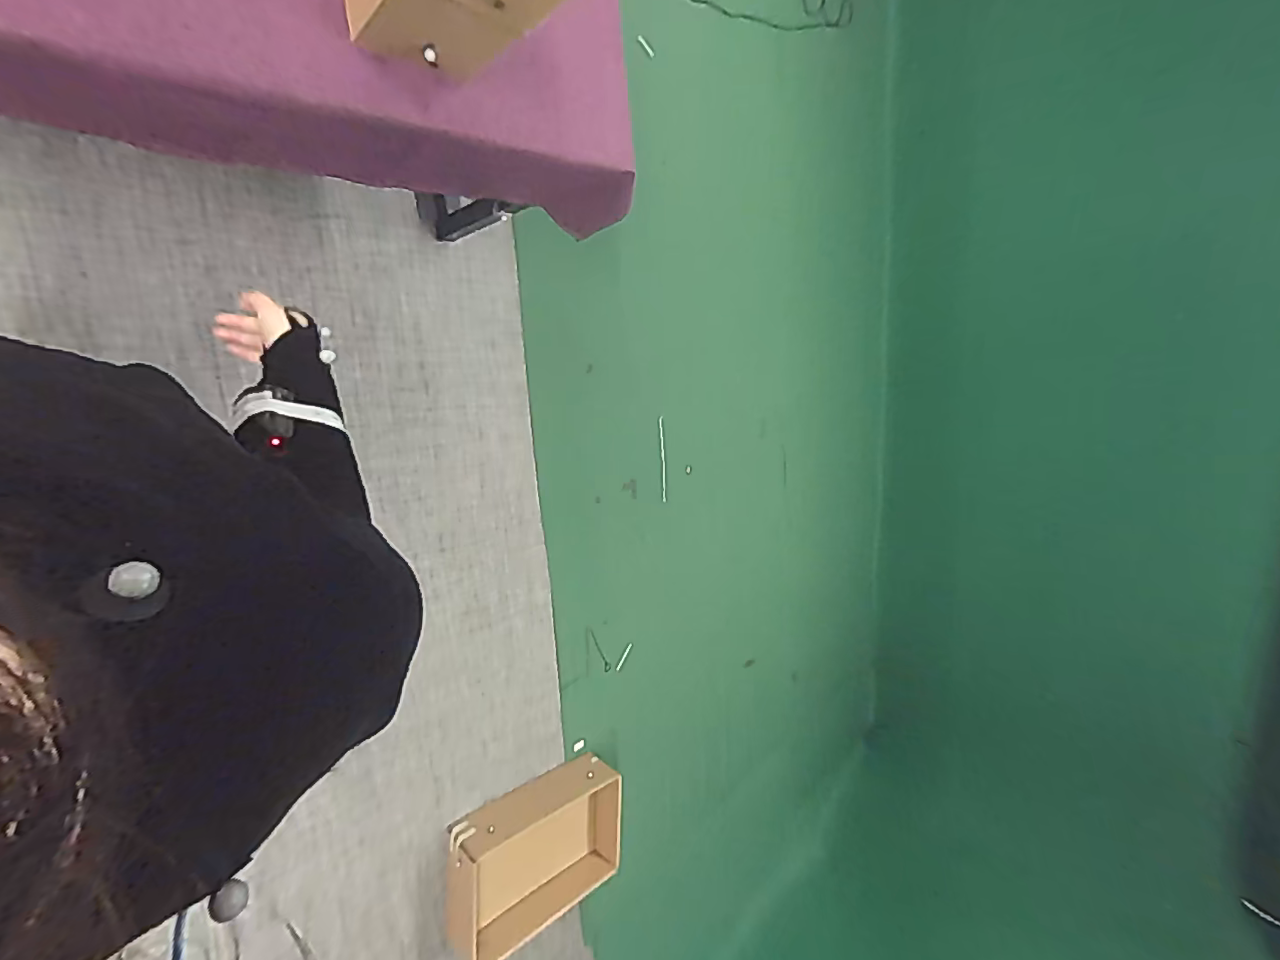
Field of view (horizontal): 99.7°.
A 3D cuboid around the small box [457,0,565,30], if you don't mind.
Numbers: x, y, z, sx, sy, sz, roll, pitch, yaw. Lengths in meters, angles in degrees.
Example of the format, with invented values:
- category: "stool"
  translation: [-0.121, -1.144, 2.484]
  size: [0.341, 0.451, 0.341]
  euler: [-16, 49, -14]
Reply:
- category: "small box"
  translation: [-0.151, -0.648, 0.582]
  size: [0.168, 0.176, 0.179]
  euler: [-15, 107, -45]

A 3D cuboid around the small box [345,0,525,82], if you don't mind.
- category: "small box"
  translation: [-0.270, -0.662, 0.692]
  size: [0.168, 0.176, 0.179]
  euler: [-15, 106, -44]
